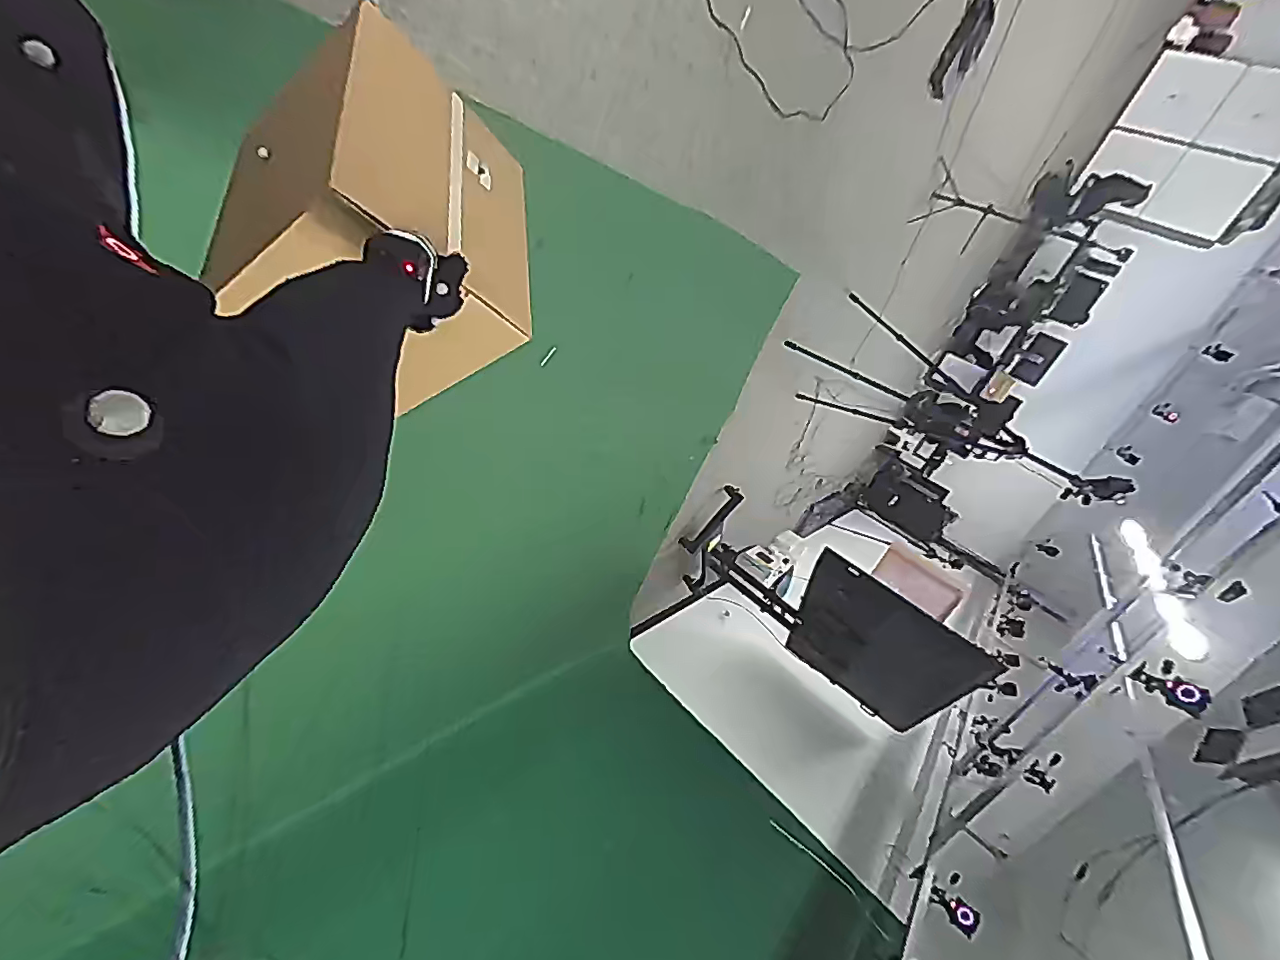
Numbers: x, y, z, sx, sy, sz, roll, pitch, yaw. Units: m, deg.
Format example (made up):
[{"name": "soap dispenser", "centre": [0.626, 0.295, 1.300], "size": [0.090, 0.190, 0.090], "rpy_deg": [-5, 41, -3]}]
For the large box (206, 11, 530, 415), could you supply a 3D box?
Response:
[{"name": "large box", "centre": [-0.401, -0.378, 0.847], "size": [0.320, 0.408, 0.320], "rpy_deg": [-22, 151, 24]}]
